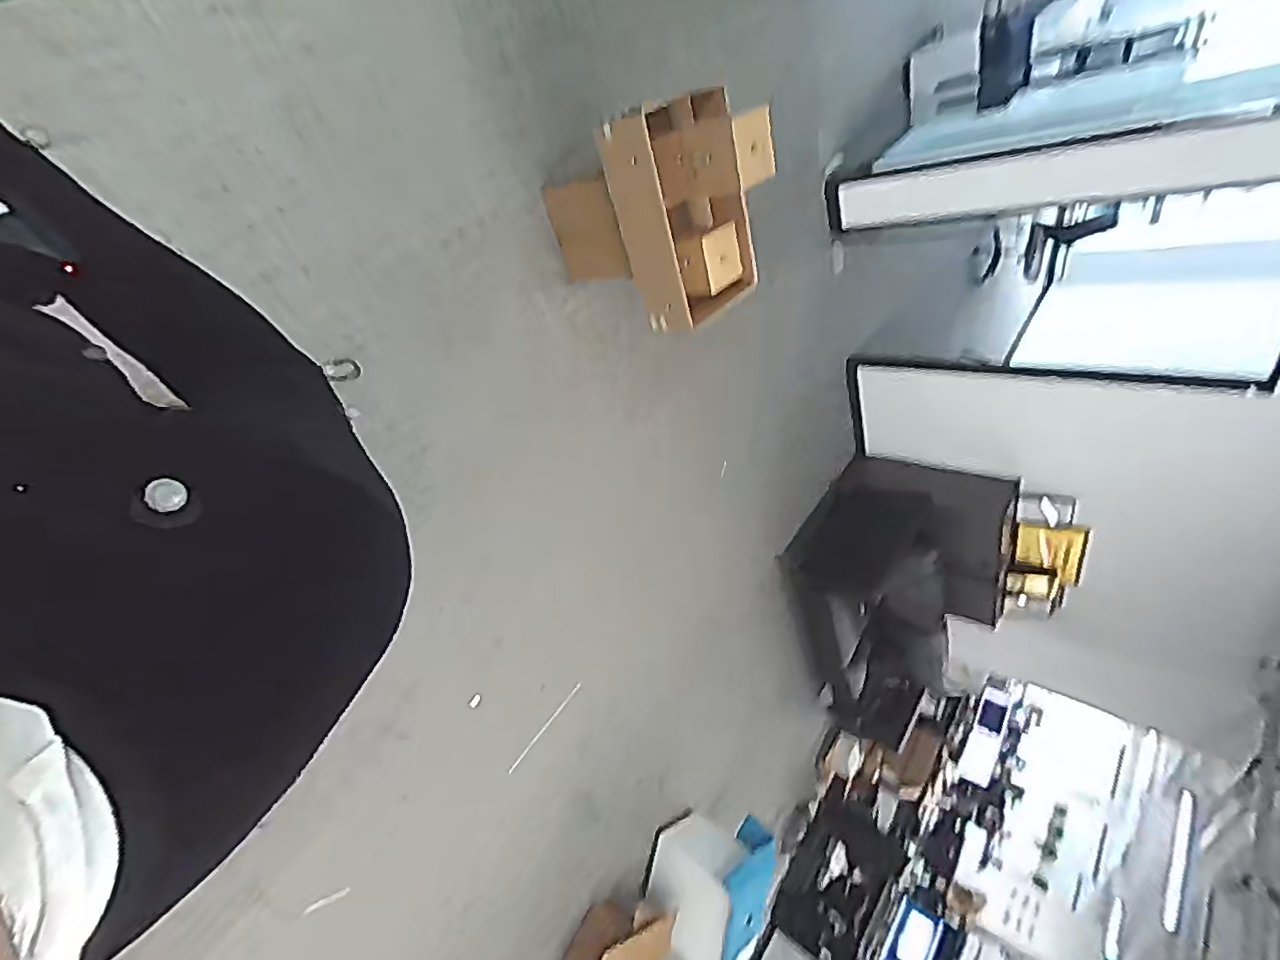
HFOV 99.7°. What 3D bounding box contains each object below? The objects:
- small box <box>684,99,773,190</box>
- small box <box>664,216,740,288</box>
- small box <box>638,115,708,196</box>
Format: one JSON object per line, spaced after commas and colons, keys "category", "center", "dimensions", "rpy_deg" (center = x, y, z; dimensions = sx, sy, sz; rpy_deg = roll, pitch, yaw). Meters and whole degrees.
{"category": "small box", "center": [0.236, -0.906, 1.471], "dimensions": [0.179, 0.176, 0.168], "rpy_deg": [-41, 130, -31]}
{"category": "small box", "center": [0.193, -0.726, 1.734], "dimensions": [0.179, 0.176, 0.168], "rpy_deg": [-42, 129, -31]}
{"category": "small box", "center": [0.122, -0.948, 1.582], "dimensions": [0.179, 0.176, 0.168], "rpy_deg": [-40, 128, -33]}
